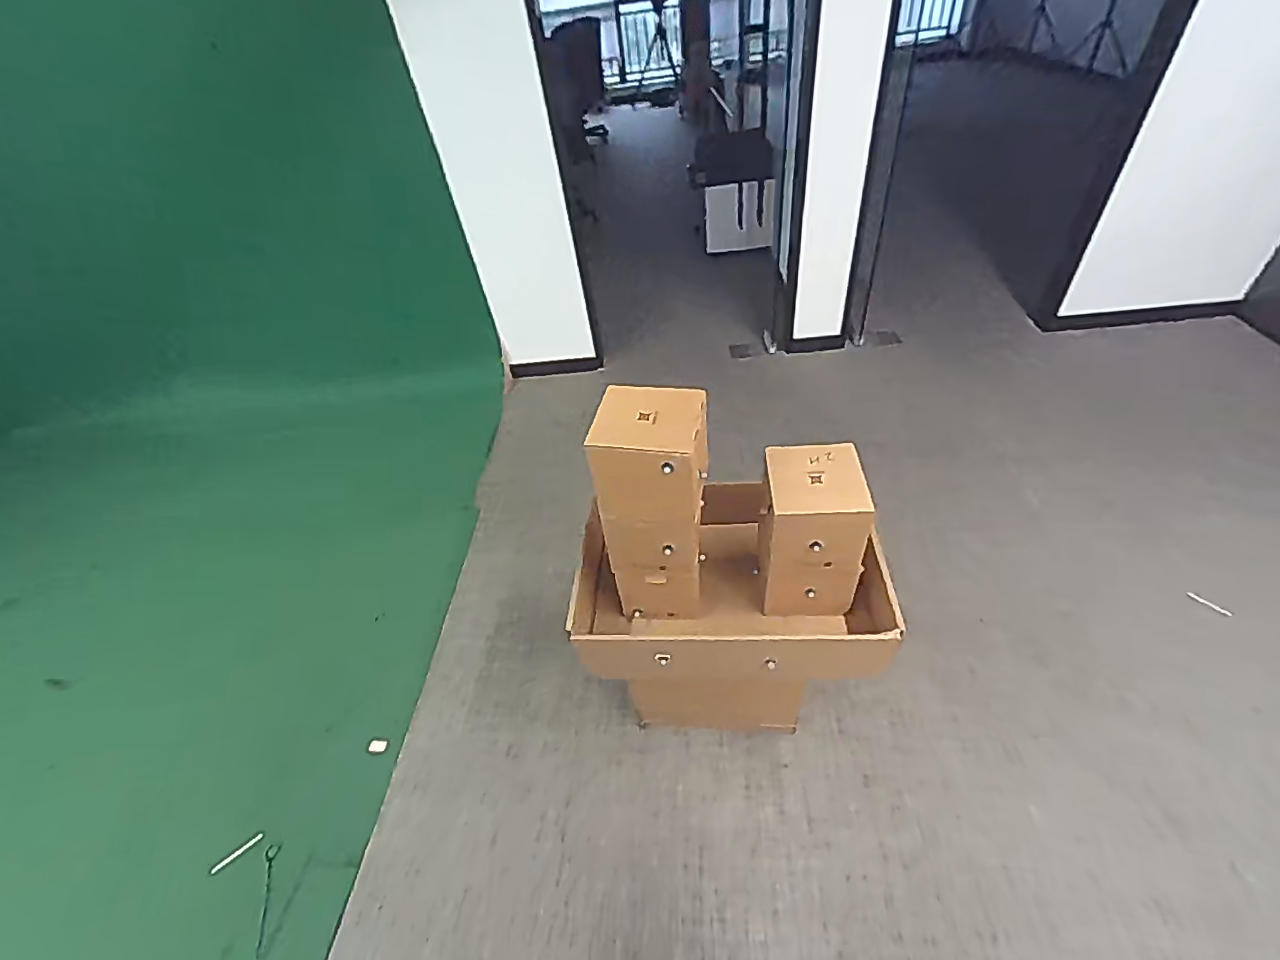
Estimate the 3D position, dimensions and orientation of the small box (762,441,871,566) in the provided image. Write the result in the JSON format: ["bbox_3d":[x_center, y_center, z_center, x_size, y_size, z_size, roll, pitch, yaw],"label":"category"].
[{"bbox_3d":[0.322,0.049,1.018,0.168,0.176,0.179,-2,45,8],"label":"small box"}]

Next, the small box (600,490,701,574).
[{"bbox_3d":[0.029,0.066,1.057,0.168,0.176,0.179,2,45,10],"label":"small box"}]

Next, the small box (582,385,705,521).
[{"bbox_3d":[0.016,-0.046,0.940,0.179,0.176,0.168,5,46,12],"label":"small box"}]
